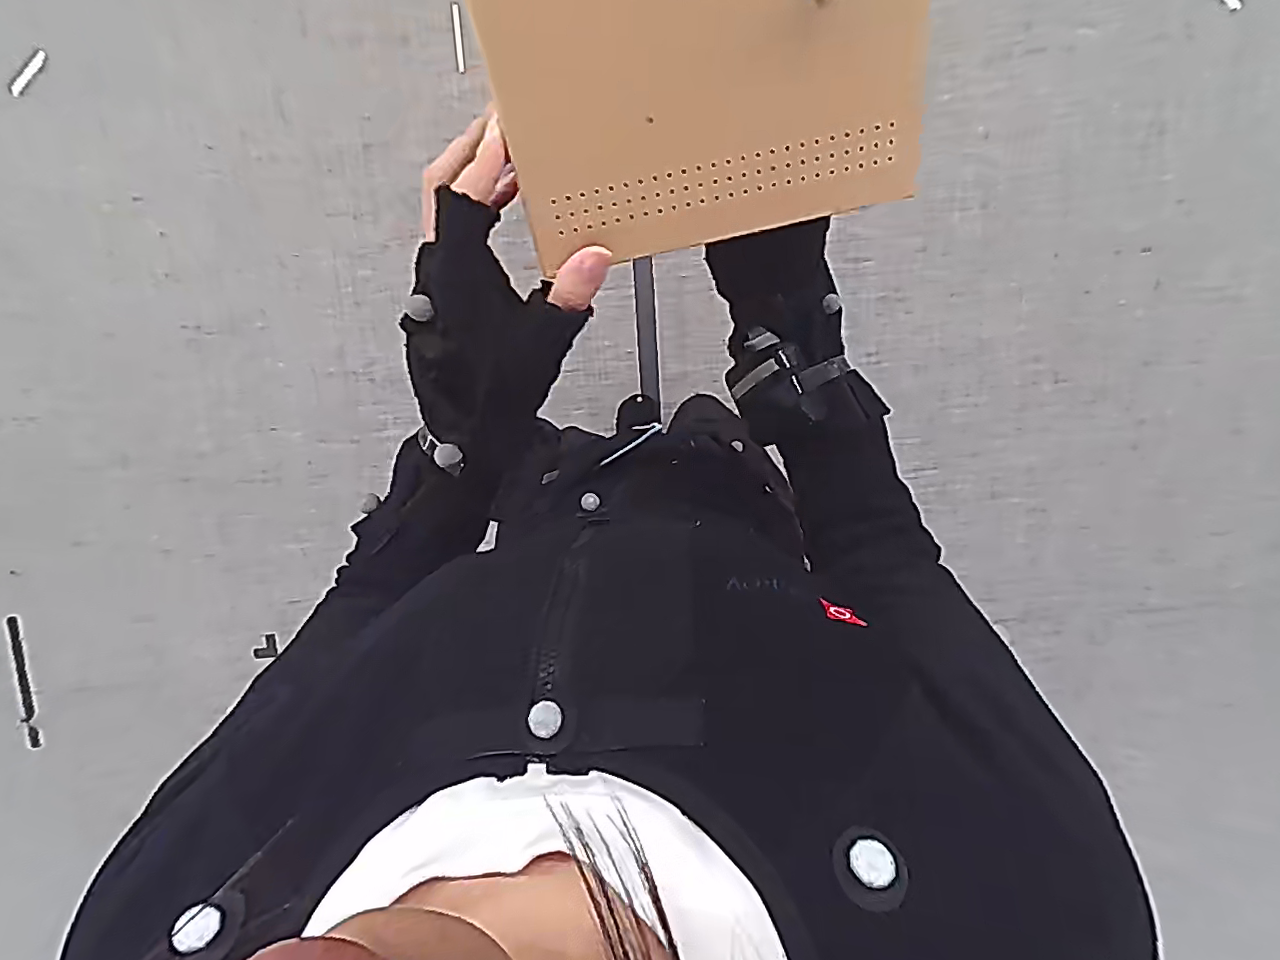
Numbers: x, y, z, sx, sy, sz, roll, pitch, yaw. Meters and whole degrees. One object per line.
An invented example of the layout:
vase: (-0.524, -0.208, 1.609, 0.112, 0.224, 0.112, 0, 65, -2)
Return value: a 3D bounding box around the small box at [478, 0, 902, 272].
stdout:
small box: (0.020, -0.228, 0.285, 0.179, 0.168, 0.176, -12, 123, 2)
